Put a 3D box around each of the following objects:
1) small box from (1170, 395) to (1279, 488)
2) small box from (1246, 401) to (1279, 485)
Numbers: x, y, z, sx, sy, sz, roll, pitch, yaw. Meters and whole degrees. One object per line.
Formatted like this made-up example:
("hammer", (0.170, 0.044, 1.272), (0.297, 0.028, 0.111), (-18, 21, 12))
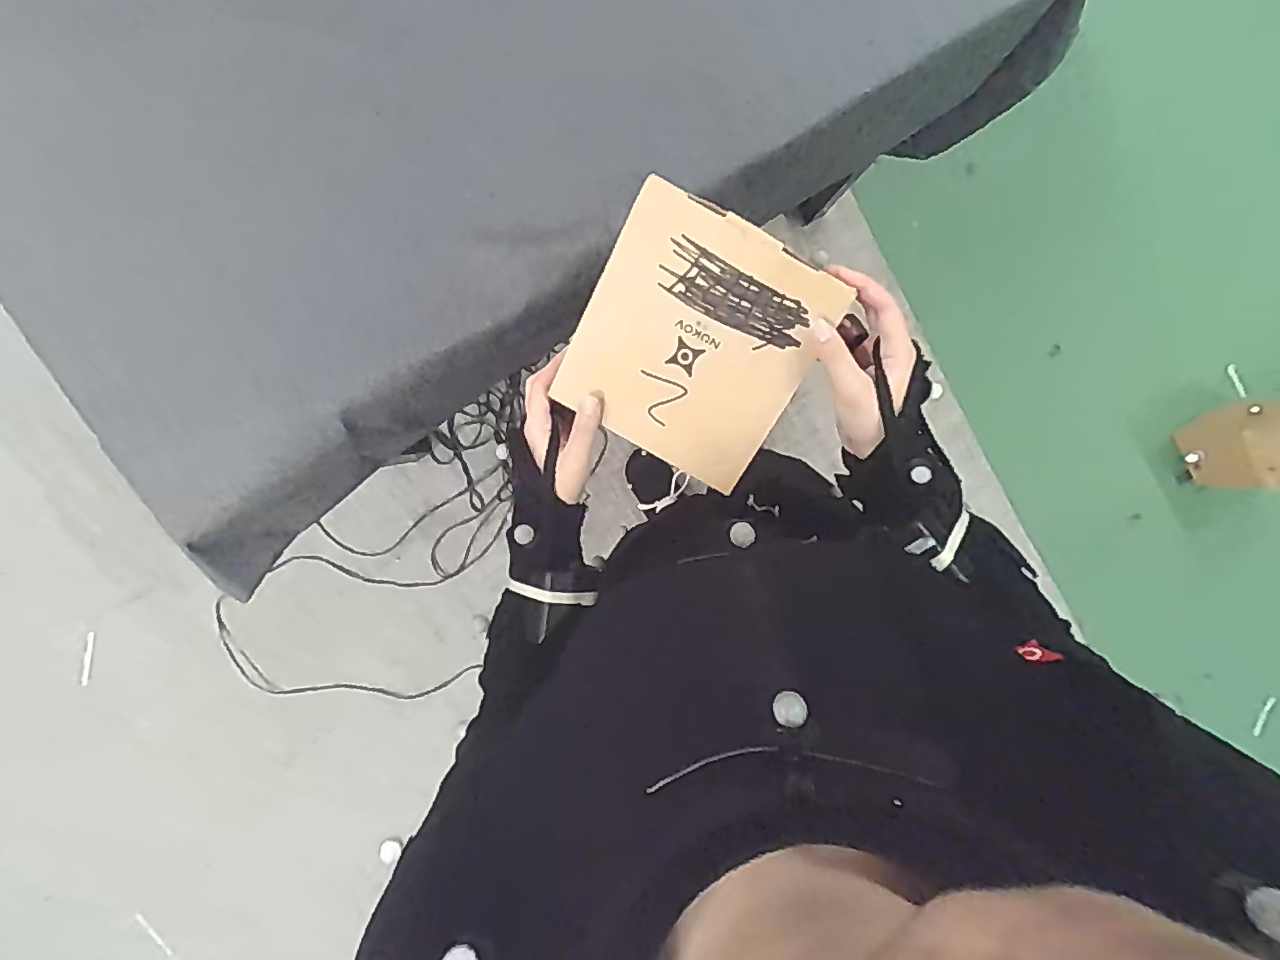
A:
("small box", (1.485, -0.100, 1.327), (0.179, 0.176, 0.168), (-32, 95, 2))
("small box", (1.482, -0.091, 1.164), (0.179, 0.176, 0.168), (-33, 95, 0))
